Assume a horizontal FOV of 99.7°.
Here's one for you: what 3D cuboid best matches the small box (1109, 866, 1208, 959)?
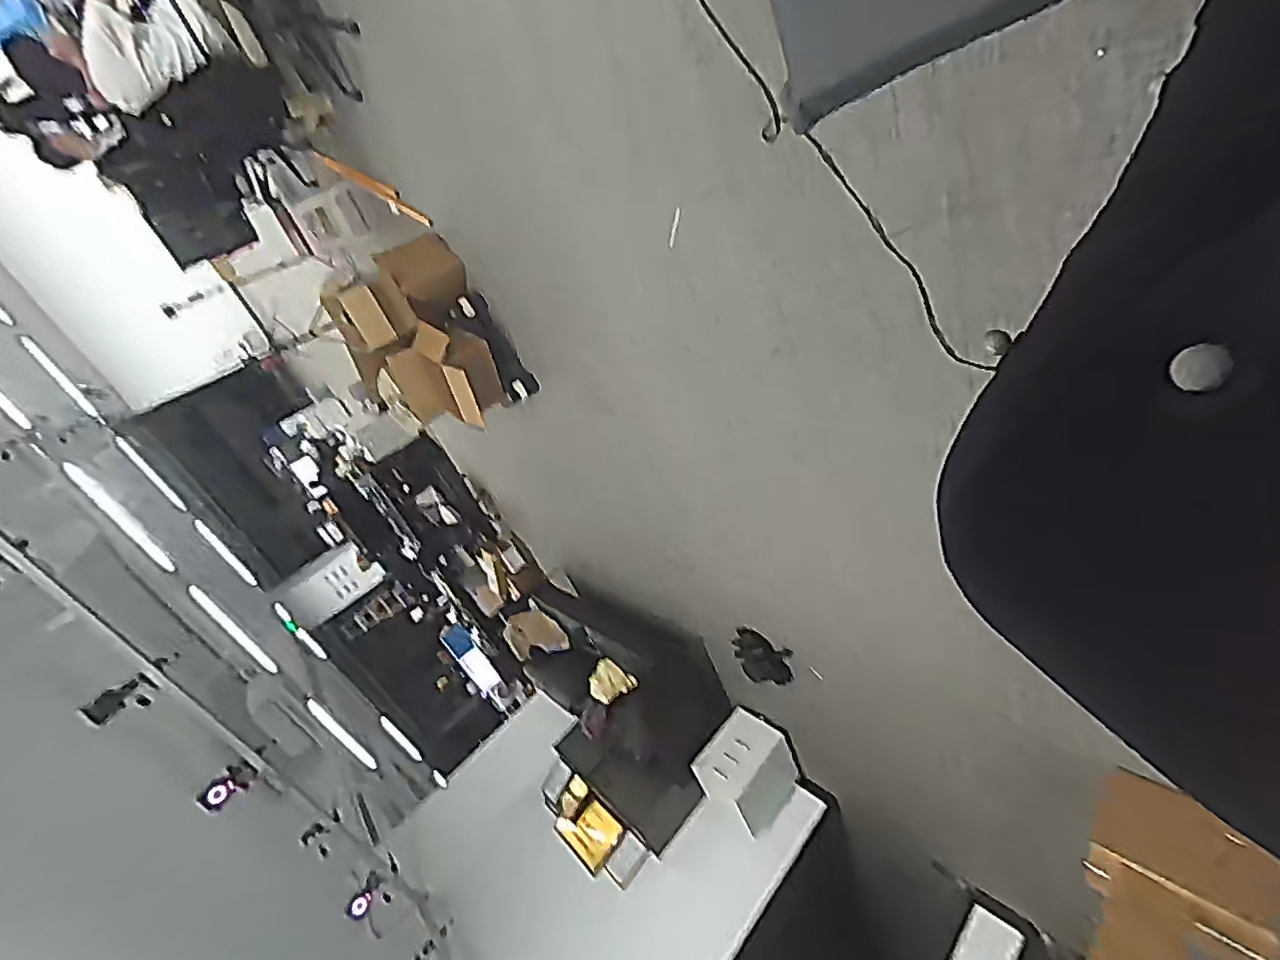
[{"bbox_3d":[1.555,1.320,1.622,0.179,0.176,0.168,19,137,47],"label":"small box"}]
